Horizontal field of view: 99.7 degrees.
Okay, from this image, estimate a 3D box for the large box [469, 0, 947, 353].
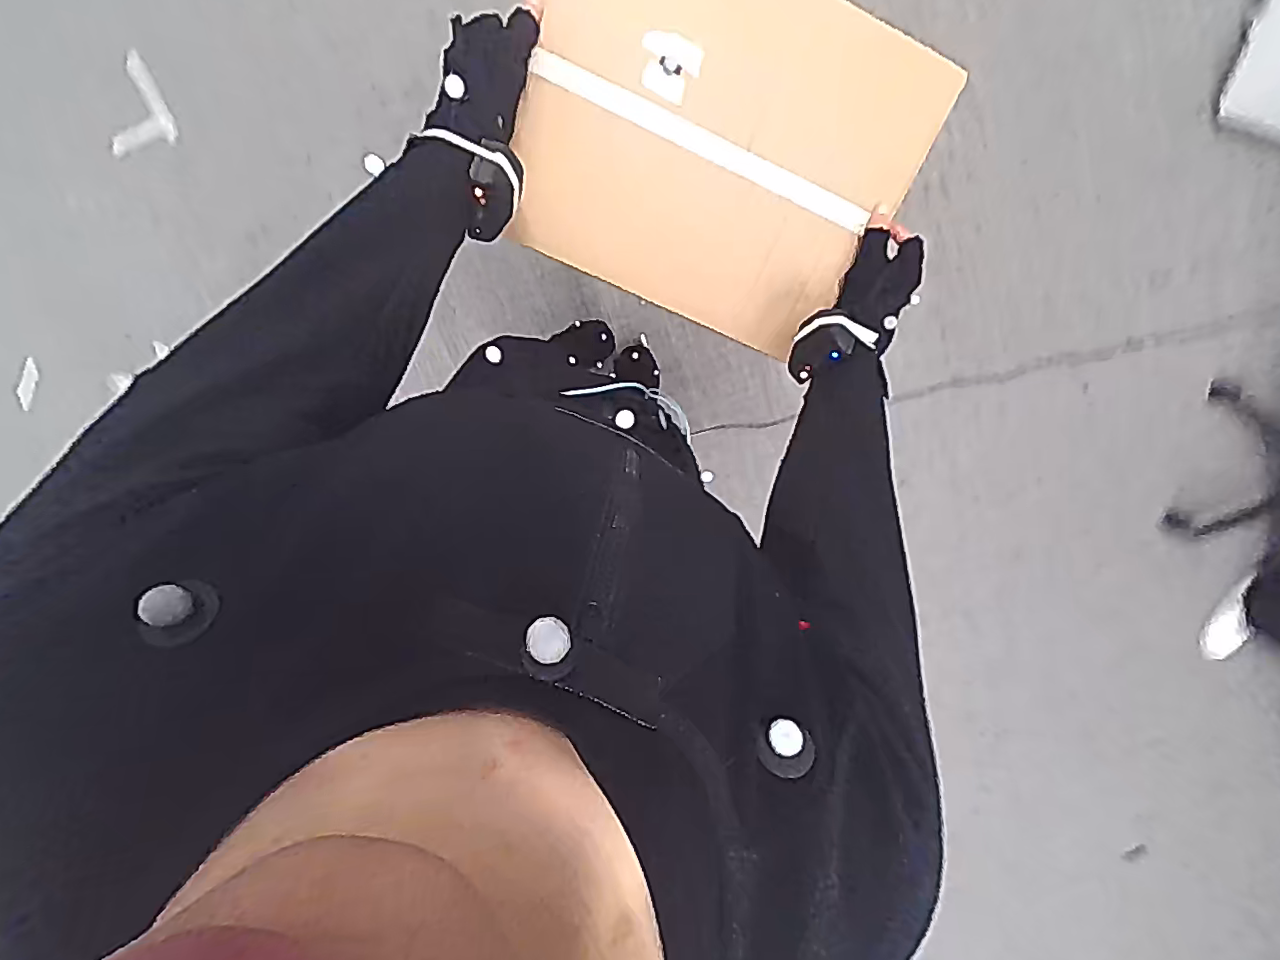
[{"bbox_3d":[0.060,-0.397,0.682,0.408,0.320,0.320,21,110,-8],"label":"large box"}]
